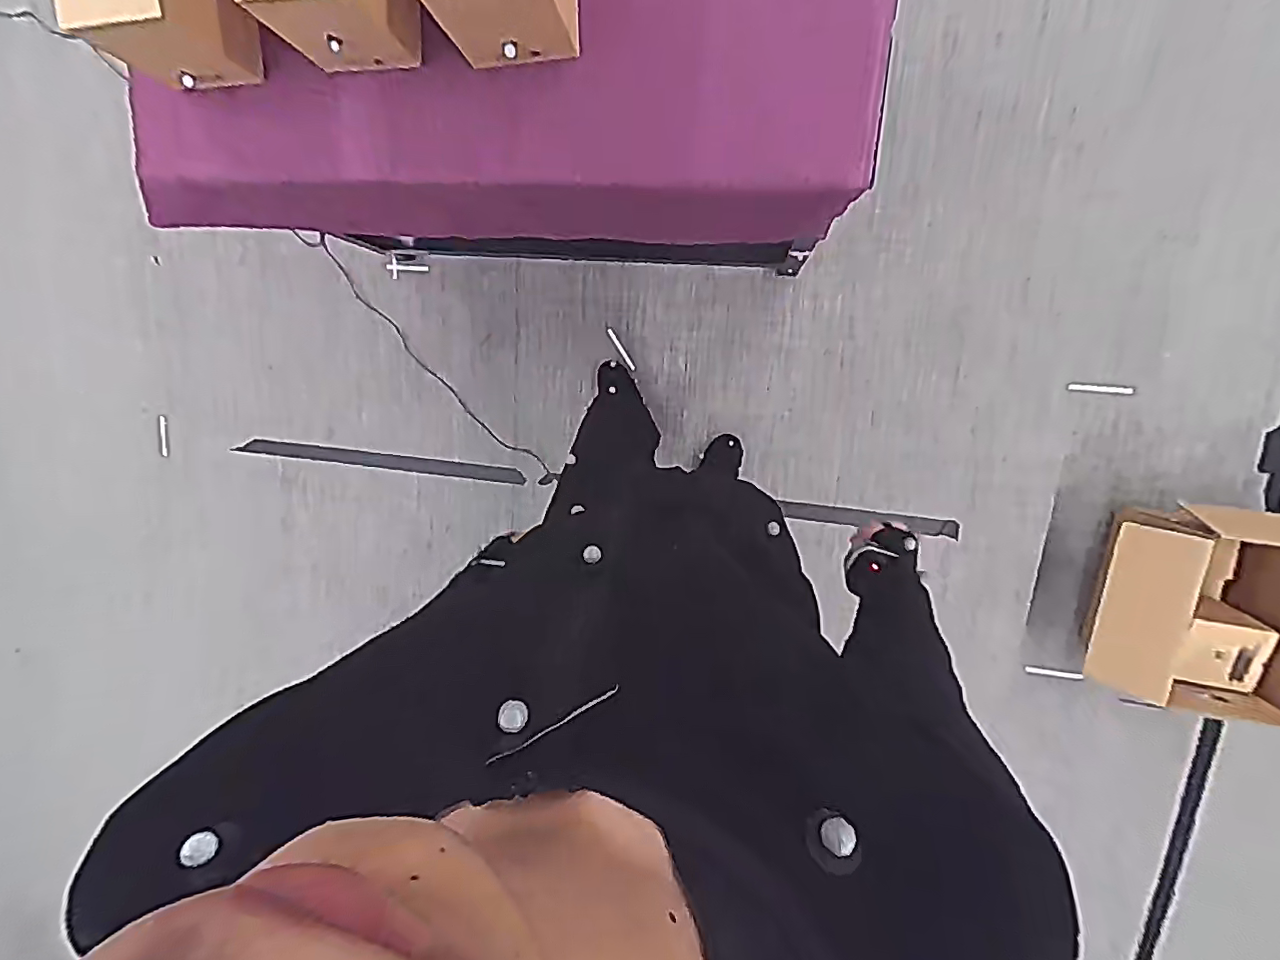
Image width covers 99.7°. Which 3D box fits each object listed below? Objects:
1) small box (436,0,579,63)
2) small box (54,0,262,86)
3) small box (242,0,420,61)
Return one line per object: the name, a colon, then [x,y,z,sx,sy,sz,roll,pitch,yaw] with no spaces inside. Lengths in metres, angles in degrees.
small box: [-0.181,-0.696,0.707,0.168,0.176,0.179,0,101,9]
small box: [-0.692,-0.715,0.783,0.168,0.176,0.179,2,100,9]
small box: [-0.421,-0.711,0.741,0.168,0.176,0.179,4,101,8]
